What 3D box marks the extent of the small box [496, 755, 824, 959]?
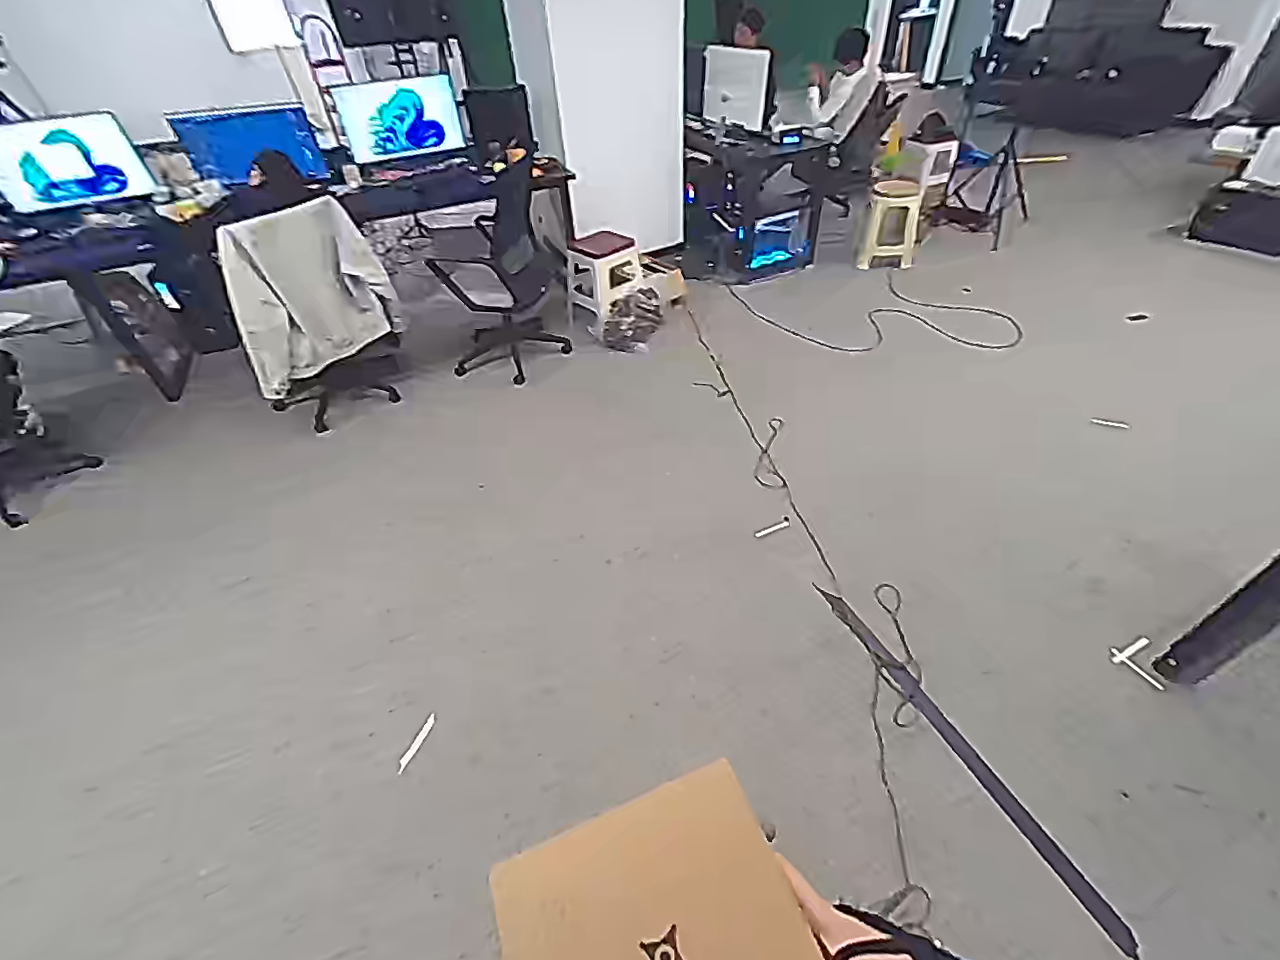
[{"bbox_3d":[0.016,0.321,0.353,0.168,0.176,0.179,-17,49,-13],"label":"small box"}]
